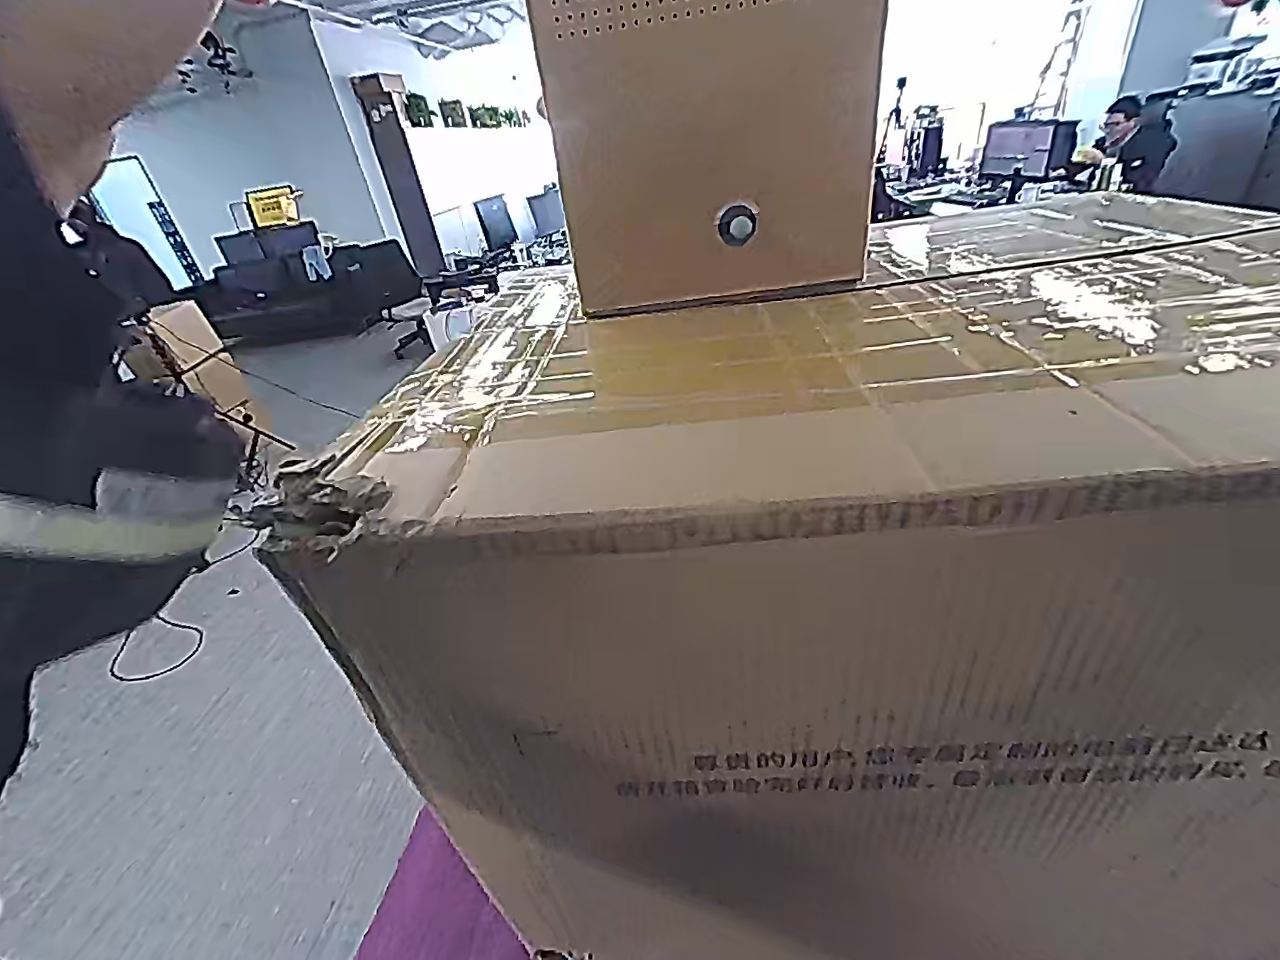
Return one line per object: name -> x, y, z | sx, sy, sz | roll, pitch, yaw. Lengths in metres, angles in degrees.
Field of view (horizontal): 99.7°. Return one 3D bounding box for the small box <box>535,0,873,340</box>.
small box -> 0.043, -0.213, 0.371 | 0.179, 0.176, 0.168 | -5, 32, 4
